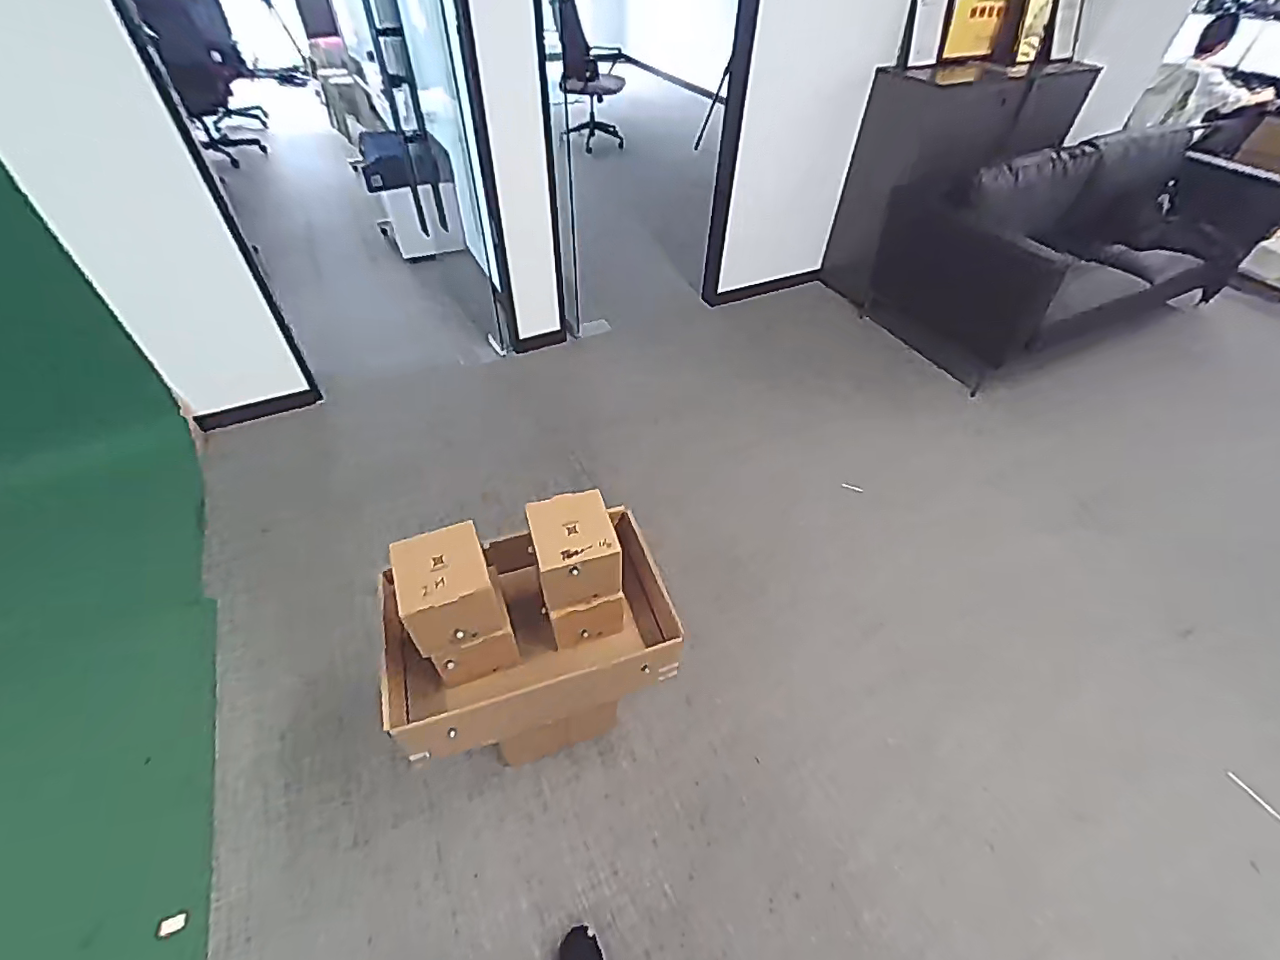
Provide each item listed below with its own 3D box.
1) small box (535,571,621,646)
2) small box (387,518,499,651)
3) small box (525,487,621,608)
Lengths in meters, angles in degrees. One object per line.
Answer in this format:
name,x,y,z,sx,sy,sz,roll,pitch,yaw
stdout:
small box,-0.151,0.260,1.275,0.168,0.176,0.179,-14,52,-15
small box,-0.390,0.209,1.081,0.168,0.176,0.179,-16,51,-17
small box,-0.146,0.145,1.157,0.168,0.176,0.179,-12,51,-14
